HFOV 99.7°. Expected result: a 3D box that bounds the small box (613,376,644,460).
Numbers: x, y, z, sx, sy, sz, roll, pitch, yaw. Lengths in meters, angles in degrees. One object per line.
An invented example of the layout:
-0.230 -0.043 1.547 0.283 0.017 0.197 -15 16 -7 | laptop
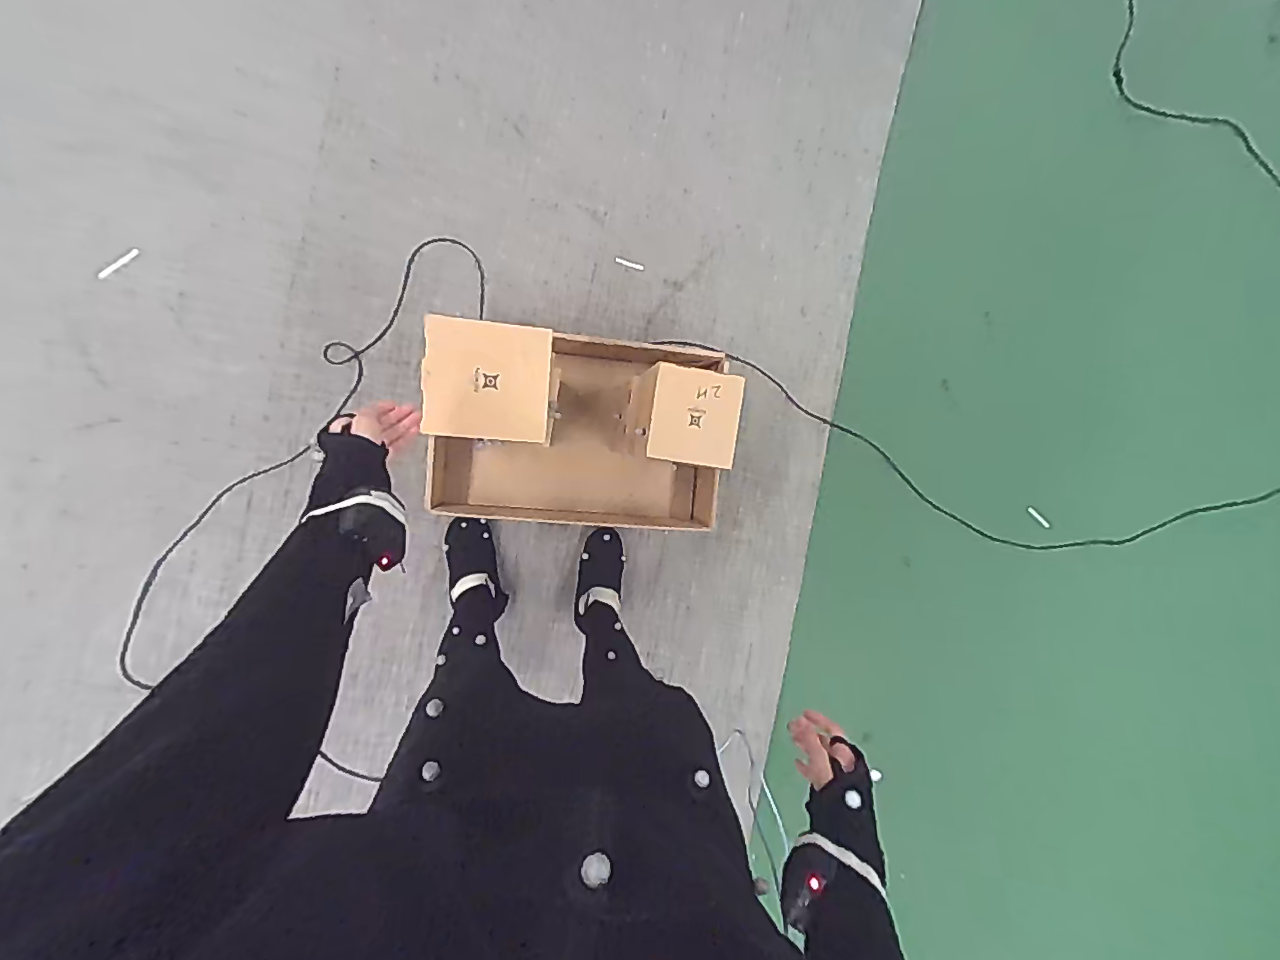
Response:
0.041 -0.126 1.218 0.179 0.176 0.168 9 91 -10 | small box

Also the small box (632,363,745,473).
0.086 -0.115 1.058 0.168 0.176 0.179 9 90 -12 | small box

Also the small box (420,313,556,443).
-0.226 -0.148 0.836 0.179 0.176 0.168 4 93 -10 | small box
